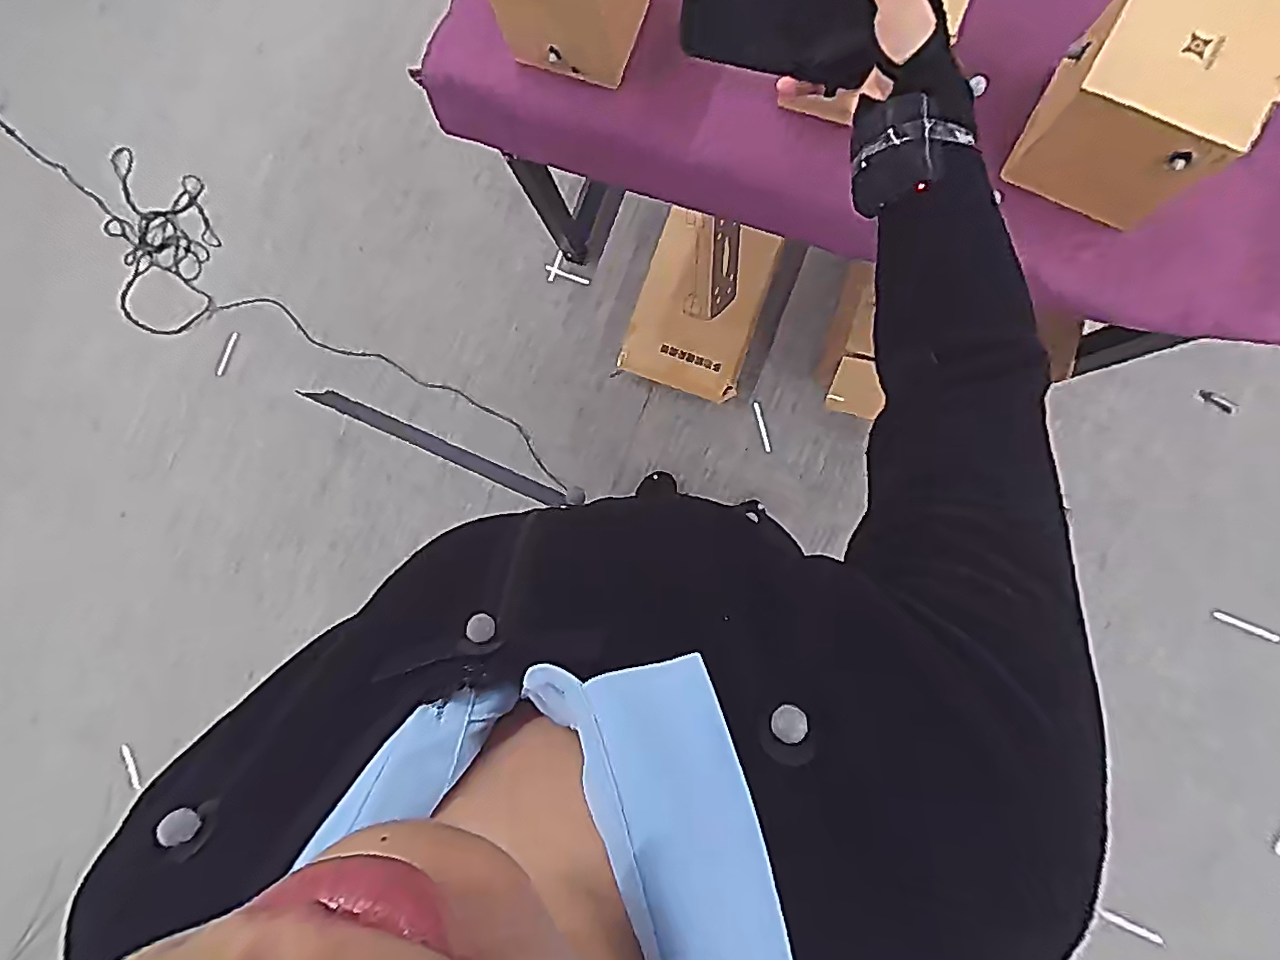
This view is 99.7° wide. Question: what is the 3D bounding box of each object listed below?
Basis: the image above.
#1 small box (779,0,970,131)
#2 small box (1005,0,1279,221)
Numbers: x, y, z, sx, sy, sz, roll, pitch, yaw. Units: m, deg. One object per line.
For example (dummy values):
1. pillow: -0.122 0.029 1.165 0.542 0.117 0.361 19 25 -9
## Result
1. small box: 0.289 -0.570 0.660 0.179 0.176 0.168 20 89 7
2. small box: 0.576 -0.437 0.626 0.179 0.176 0.168 27 92 6
